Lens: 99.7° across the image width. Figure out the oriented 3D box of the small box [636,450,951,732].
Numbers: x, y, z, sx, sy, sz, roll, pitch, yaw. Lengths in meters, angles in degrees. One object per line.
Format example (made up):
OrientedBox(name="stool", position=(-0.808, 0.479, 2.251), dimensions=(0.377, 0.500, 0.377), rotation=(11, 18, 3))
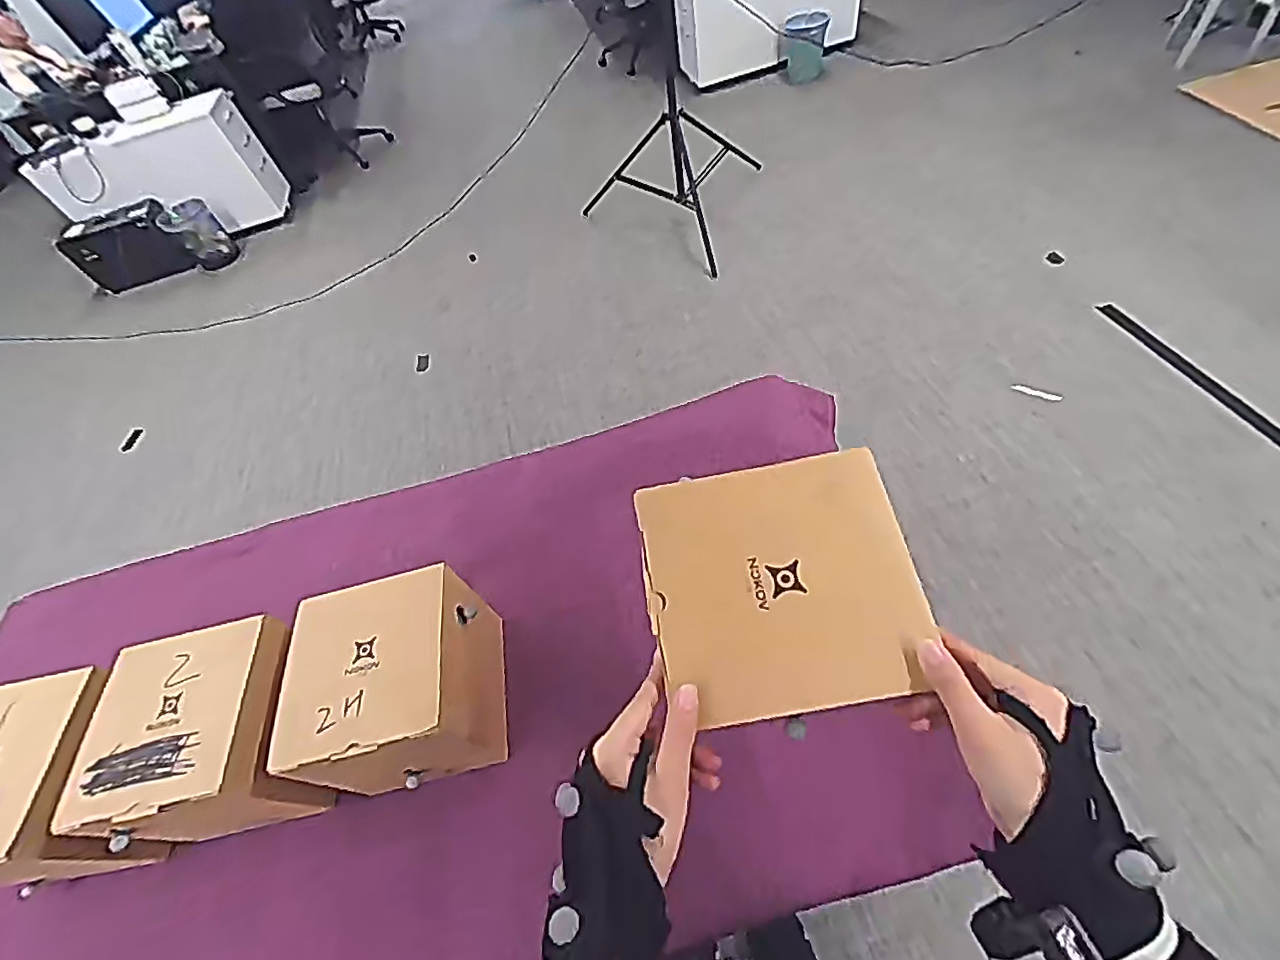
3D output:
OrientedBox(name="small box", position=(0.102, 0.097, 0.433), dimensions=(0.179, 0.176, 0.168), rotation=(-12, 66, 4))
